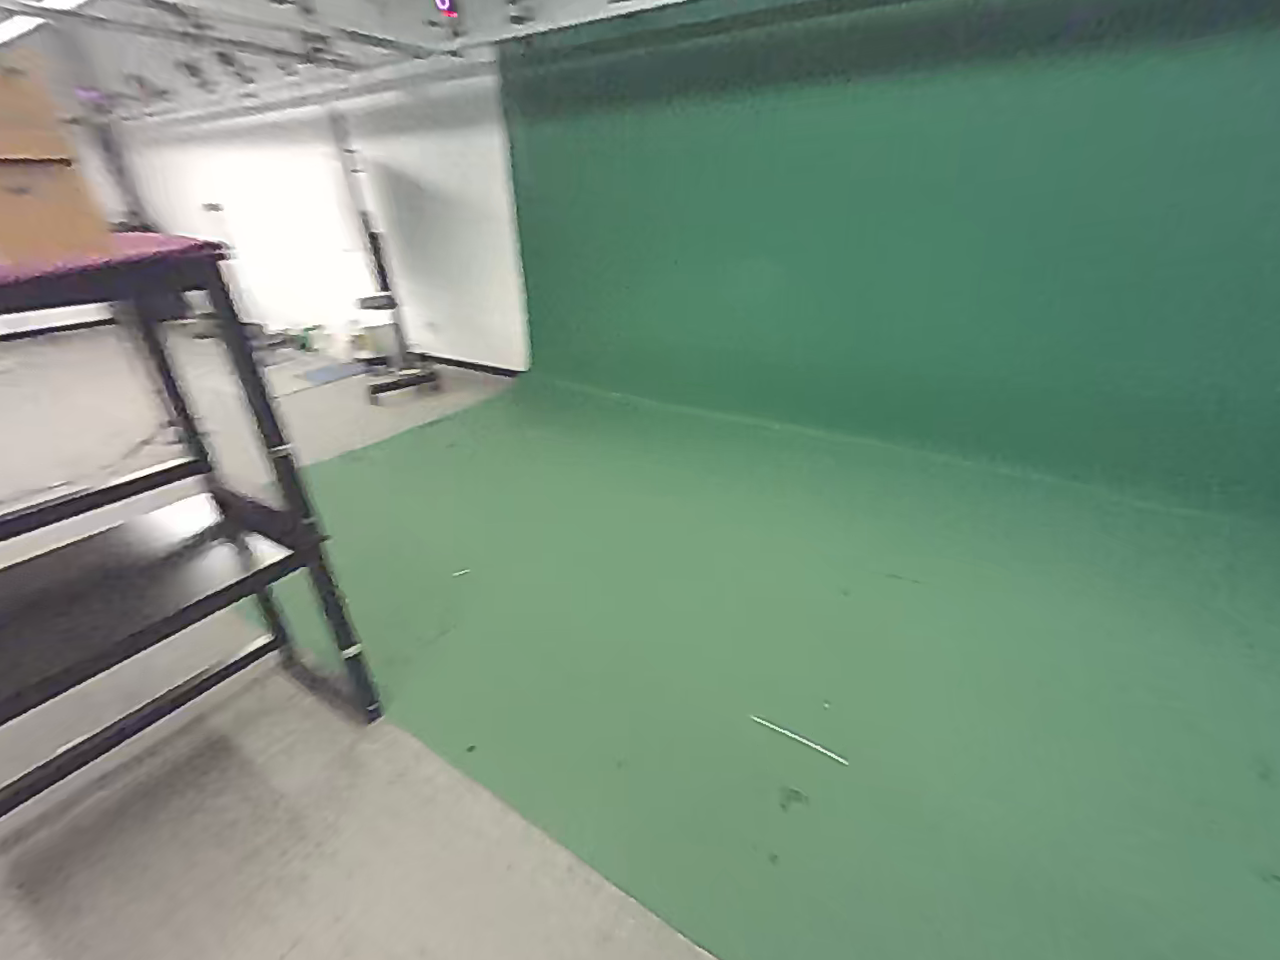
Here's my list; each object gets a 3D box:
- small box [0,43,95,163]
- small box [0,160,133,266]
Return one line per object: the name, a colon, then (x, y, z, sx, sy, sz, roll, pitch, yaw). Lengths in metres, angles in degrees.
small box: (-1.126, -0.645, 0.945, 0.168, 0.176, 0.179, 15, 33, 31)
small box: (-1.130, -0.506, 1.029, 0.168, 0.176, 0.179, 18, 34, 35)
